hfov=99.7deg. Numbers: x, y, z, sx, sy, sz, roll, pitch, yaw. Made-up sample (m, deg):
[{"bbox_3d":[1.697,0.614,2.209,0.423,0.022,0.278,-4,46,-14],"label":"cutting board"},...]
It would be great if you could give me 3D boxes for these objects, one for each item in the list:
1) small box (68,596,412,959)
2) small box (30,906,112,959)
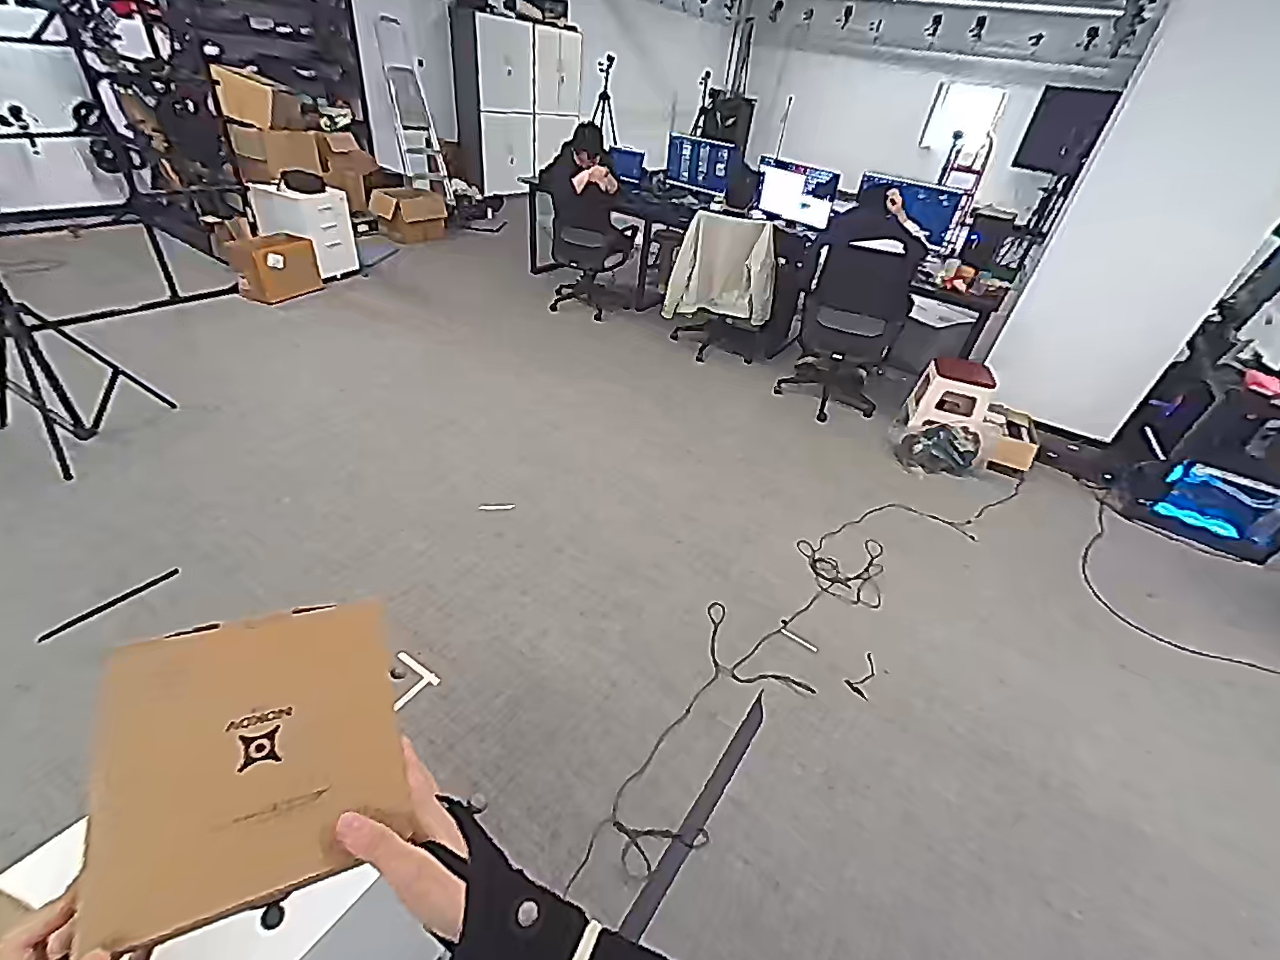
[{"bbox_3d":[-0.276,0.214,0.410,0.168,0.176,0.179,-7,60,-29],"label":"small box"},{"bbox_3d":[-0.640,0.597,0.544,0.179,0.176,0.168,26,40,25],"label":"small box"}]
